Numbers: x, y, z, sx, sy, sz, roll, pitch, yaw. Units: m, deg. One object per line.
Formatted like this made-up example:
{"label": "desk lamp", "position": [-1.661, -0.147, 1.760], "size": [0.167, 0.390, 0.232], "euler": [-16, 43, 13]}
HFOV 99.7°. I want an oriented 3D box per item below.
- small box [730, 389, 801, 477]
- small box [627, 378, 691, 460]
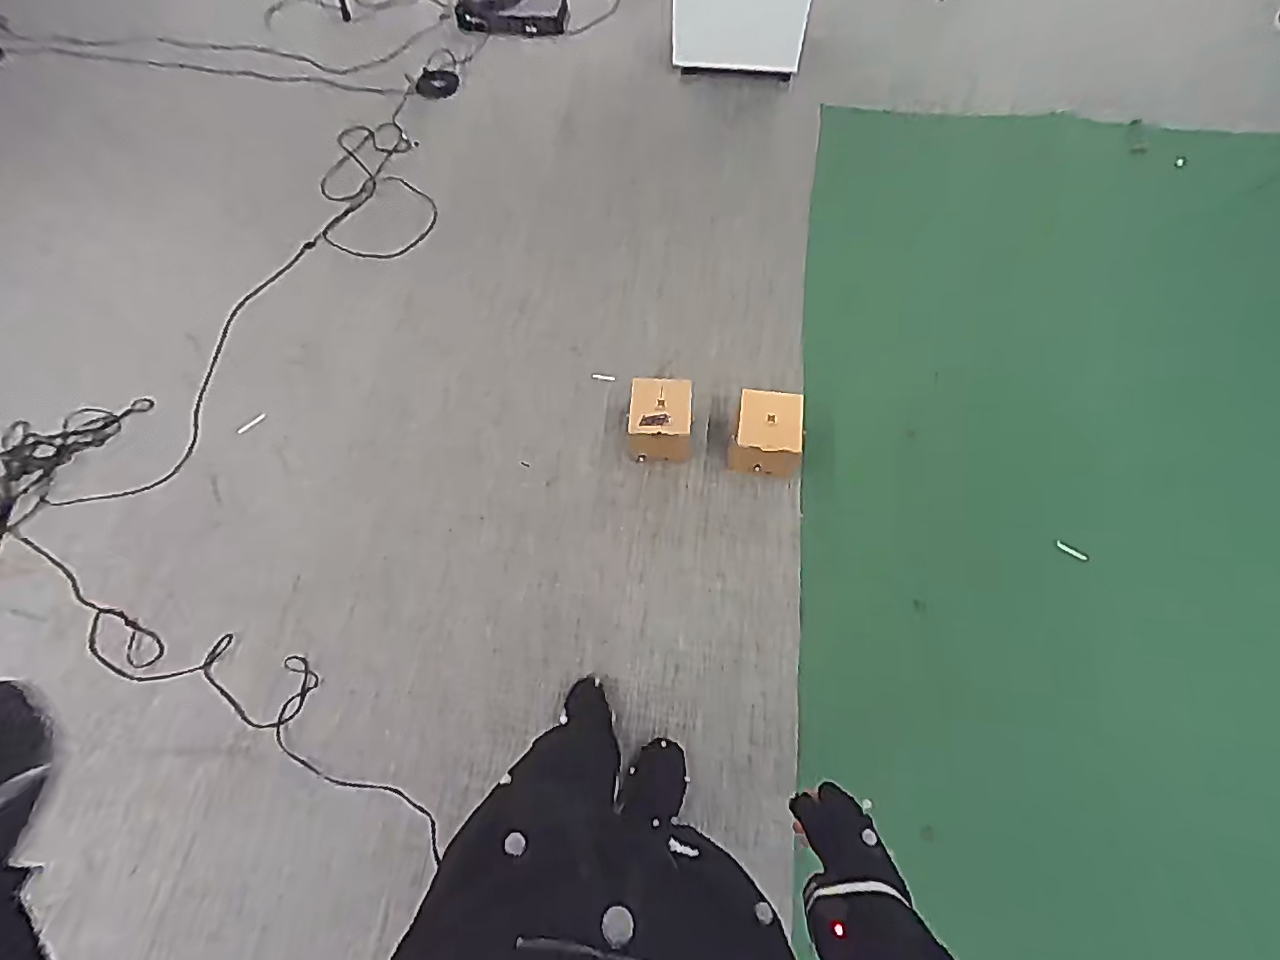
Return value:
{"label": "small box", "position": [0.344, -0.128, 1.498], "size": [0.168, 0.176, 0.179], "euler": [6, 67, 6]}
{"label": "small box", "position": [0.055, -0.167, 1.524], "size": [0.168, 0.176, 0.179], "euler": [3, 66, 3]}
